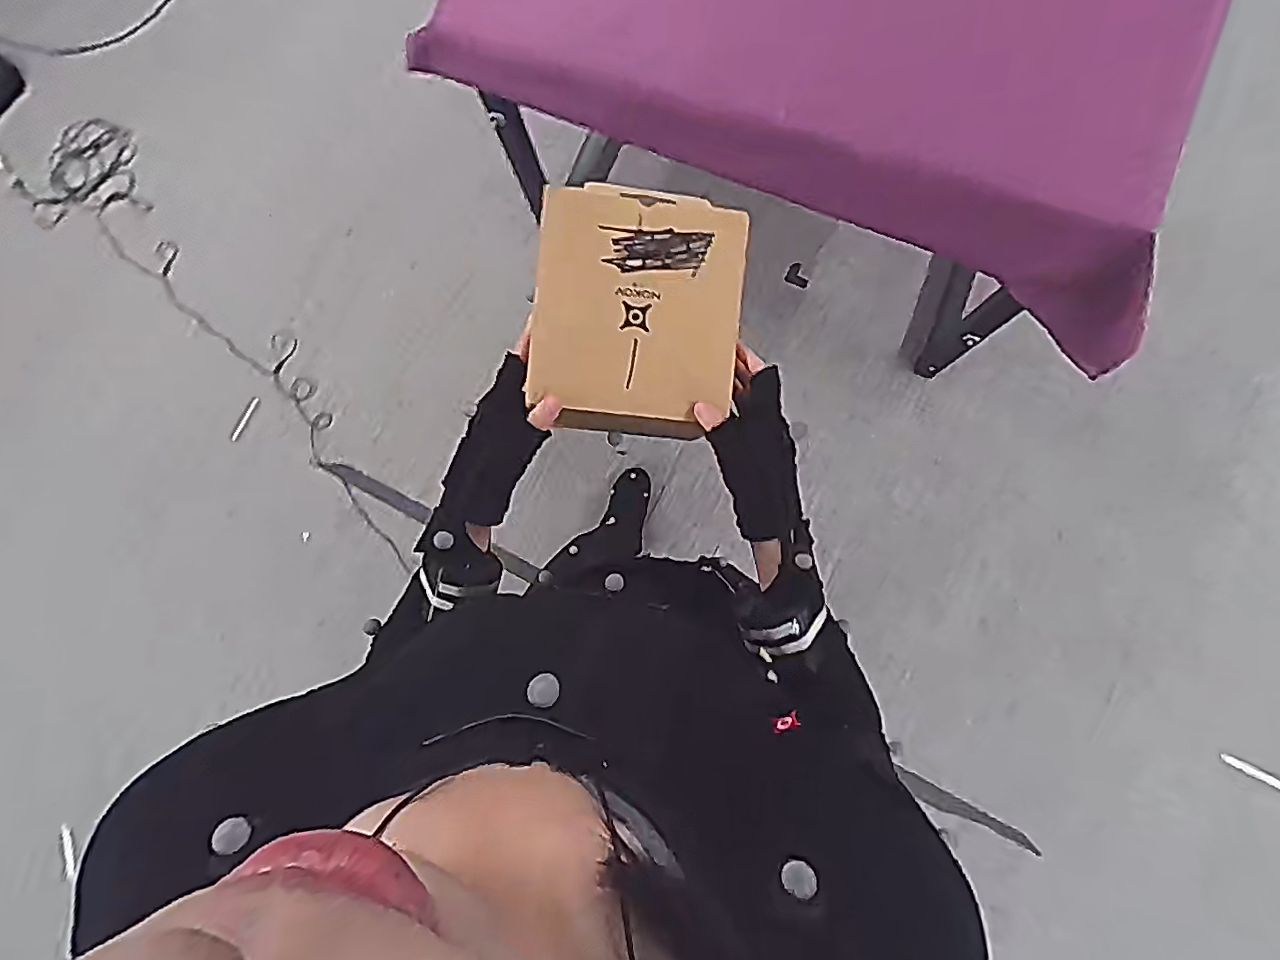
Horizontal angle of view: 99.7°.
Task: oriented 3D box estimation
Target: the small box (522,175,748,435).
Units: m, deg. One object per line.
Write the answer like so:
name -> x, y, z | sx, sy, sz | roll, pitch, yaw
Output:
small box -> -0.009, -0.143, 0.504 | 0.168, 0.176, 0.179 | 6, 90, -4
